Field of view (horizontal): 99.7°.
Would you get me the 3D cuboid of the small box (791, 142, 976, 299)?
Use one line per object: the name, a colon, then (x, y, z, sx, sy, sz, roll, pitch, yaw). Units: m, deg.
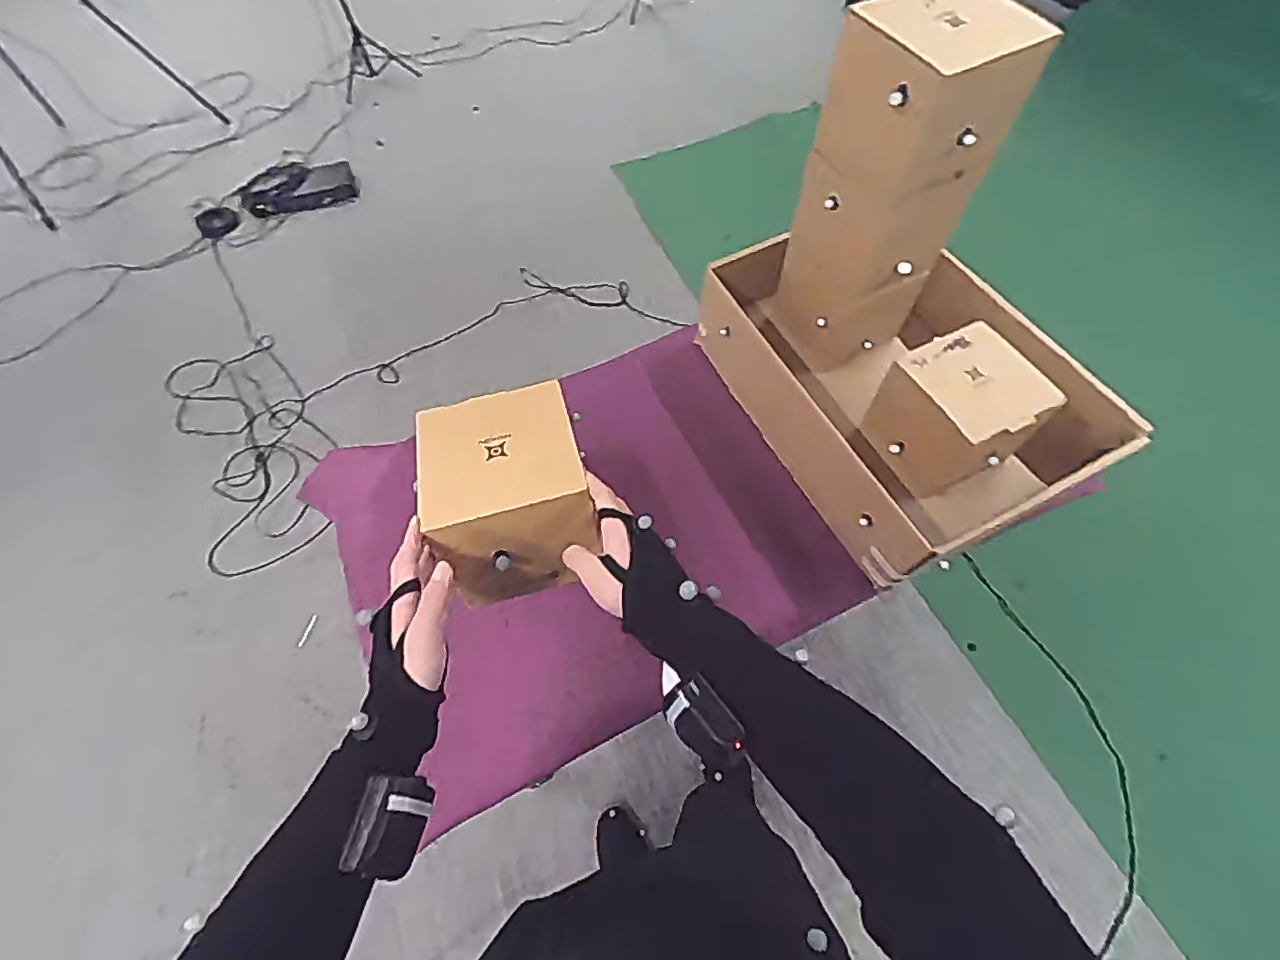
small box: (0.359, -0.420, 0.839, 0.168, 0.176, 0.179, -26, 66, -10)

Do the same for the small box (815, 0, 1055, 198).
small box: (0.354, -0.491, 0.690, 0.168, 0.176, 0.179, -25, 65, -10)

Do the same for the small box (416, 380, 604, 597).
small box: (-0.146, 0.018, 0.628, 0.168, 0.176, 0.179, -15, 51, -7)
